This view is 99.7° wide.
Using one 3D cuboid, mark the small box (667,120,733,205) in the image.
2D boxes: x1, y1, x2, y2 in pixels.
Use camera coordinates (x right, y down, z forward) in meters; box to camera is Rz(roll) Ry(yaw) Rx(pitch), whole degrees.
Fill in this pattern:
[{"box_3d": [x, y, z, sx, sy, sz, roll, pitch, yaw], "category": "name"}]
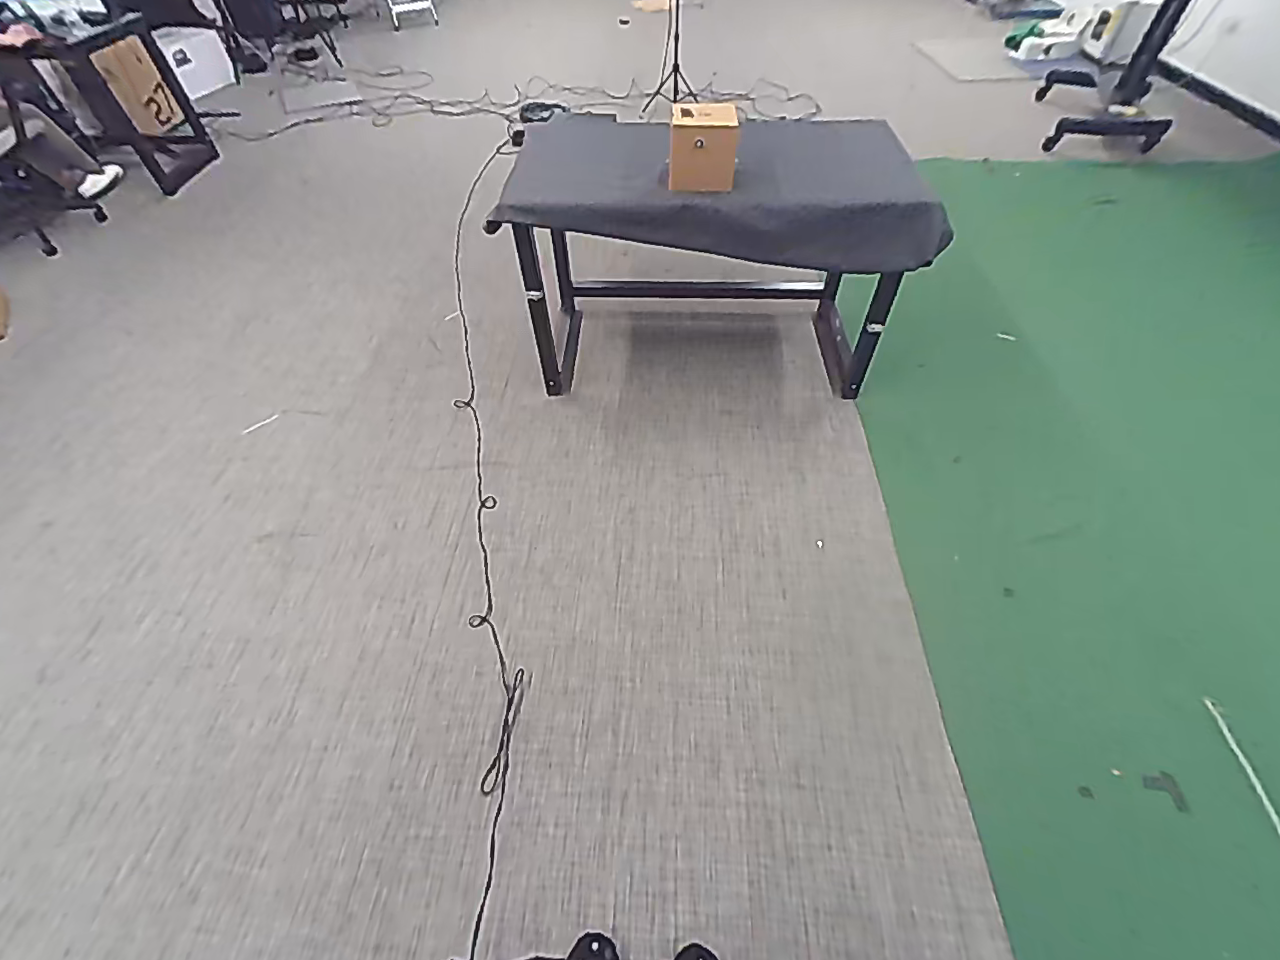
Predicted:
[{"box_3d": [0.166, -0.902, 1.539, 0.179, 0.176, 0.168, 2, 51, 2], "category": "small box"}]
